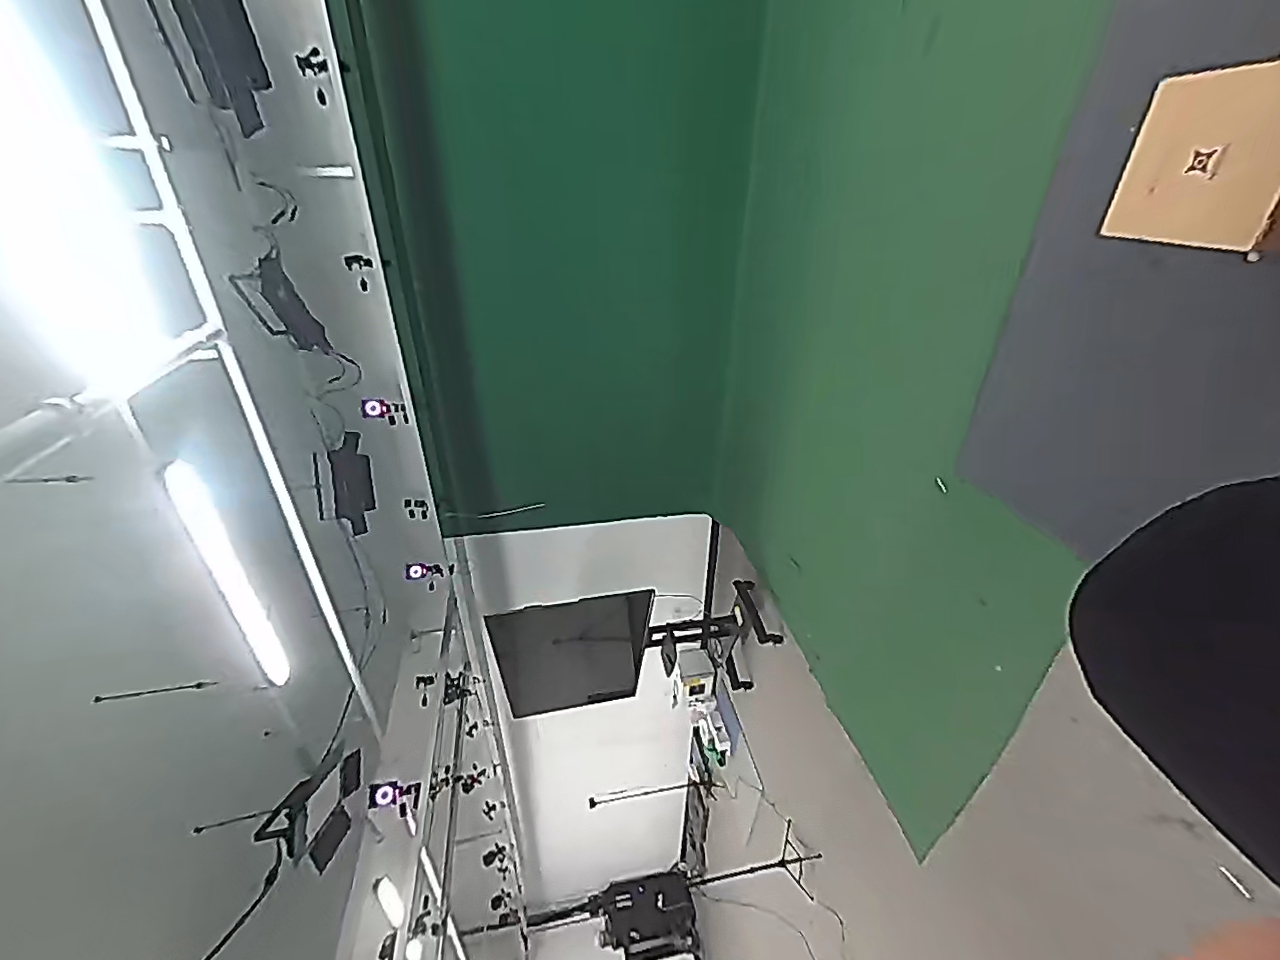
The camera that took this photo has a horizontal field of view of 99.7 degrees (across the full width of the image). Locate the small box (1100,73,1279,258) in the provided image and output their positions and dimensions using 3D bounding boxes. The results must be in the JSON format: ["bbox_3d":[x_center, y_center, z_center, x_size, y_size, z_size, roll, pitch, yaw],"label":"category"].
[{"bbox_3d":[0.696,-0.348,0.605,0.179,0.176,0.168,-111,20,-59],"label":"small box"}]
